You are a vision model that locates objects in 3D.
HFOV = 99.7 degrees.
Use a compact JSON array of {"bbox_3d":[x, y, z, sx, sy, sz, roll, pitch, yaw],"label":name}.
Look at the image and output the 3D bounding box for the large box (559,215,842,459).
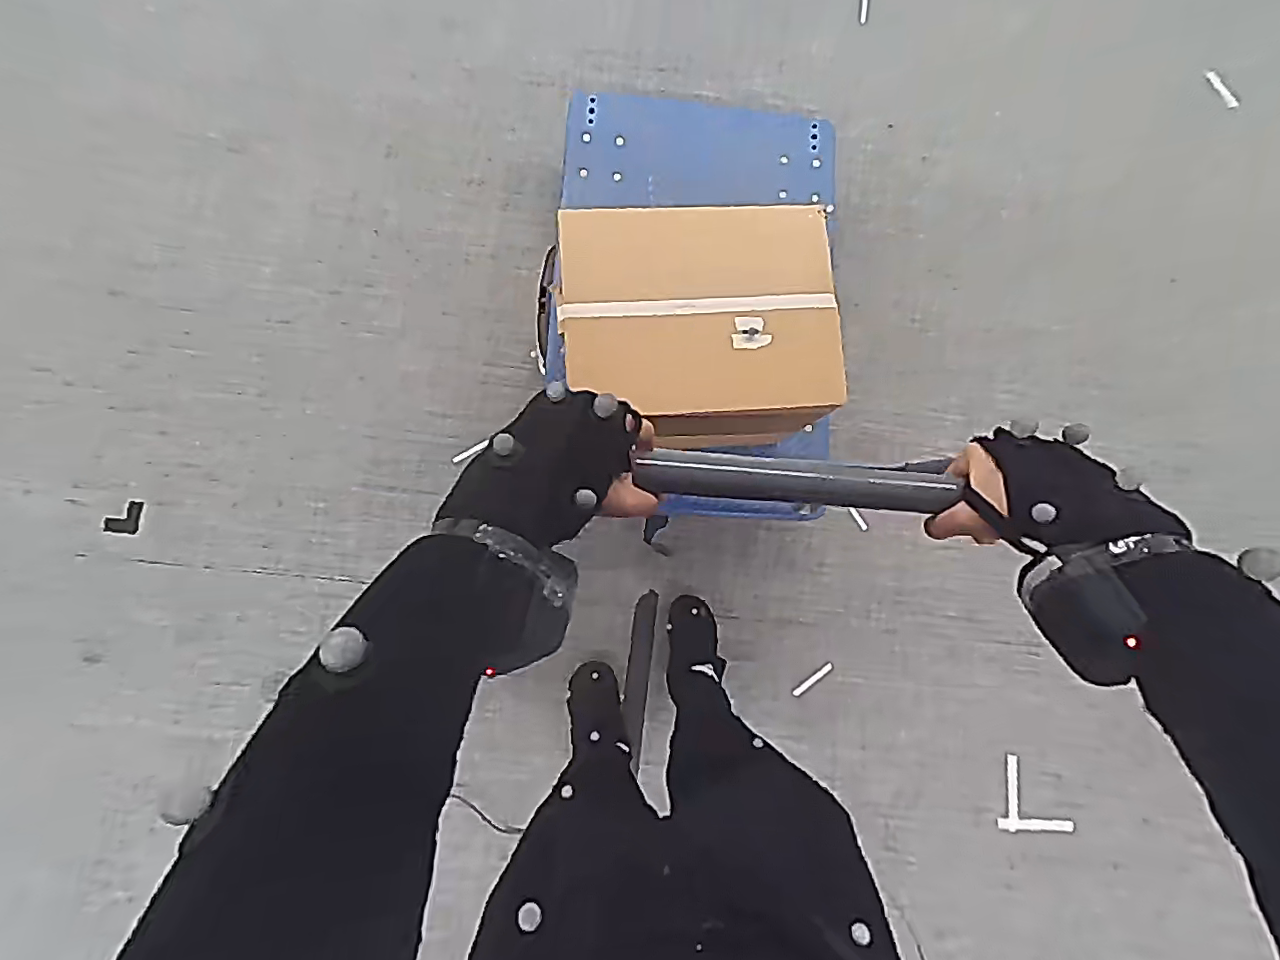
[{"bbox_3d":[0.075,-0.224,0.942,0.408,0.320,0.320,-4,84,-6],"label":"large box"}]
